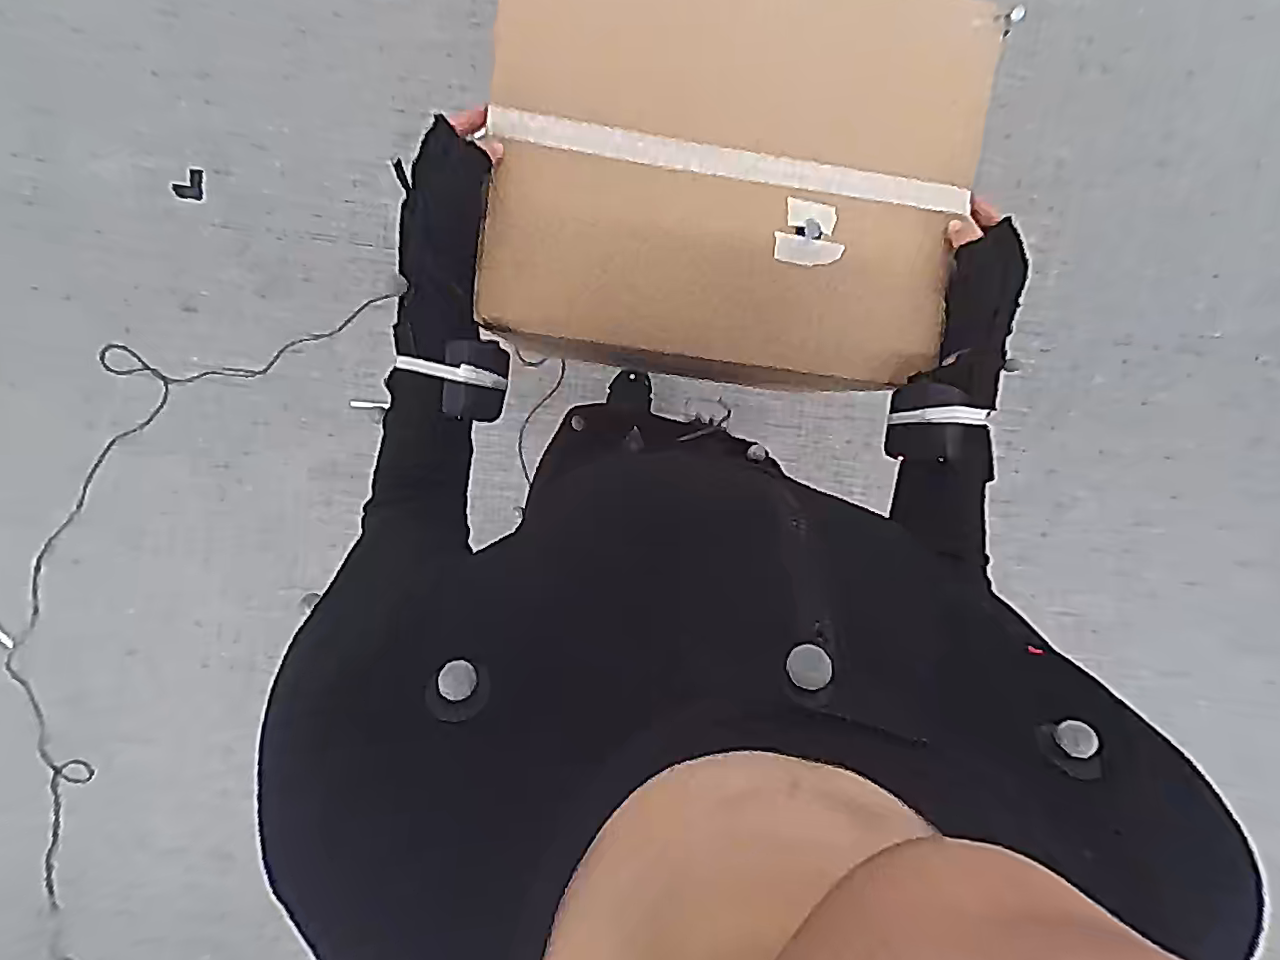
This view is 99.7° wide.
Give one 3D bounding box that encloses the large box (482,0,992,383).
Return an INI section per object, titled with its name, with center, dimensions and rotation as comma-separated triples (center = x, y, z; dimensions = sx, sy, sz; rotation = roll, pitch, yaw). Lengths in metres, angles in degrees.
[large box]
center = 0.065, -0.288, 0.597
dimensions = 0.408, 0.320, 0.320
rotation = 7, 100, -7
